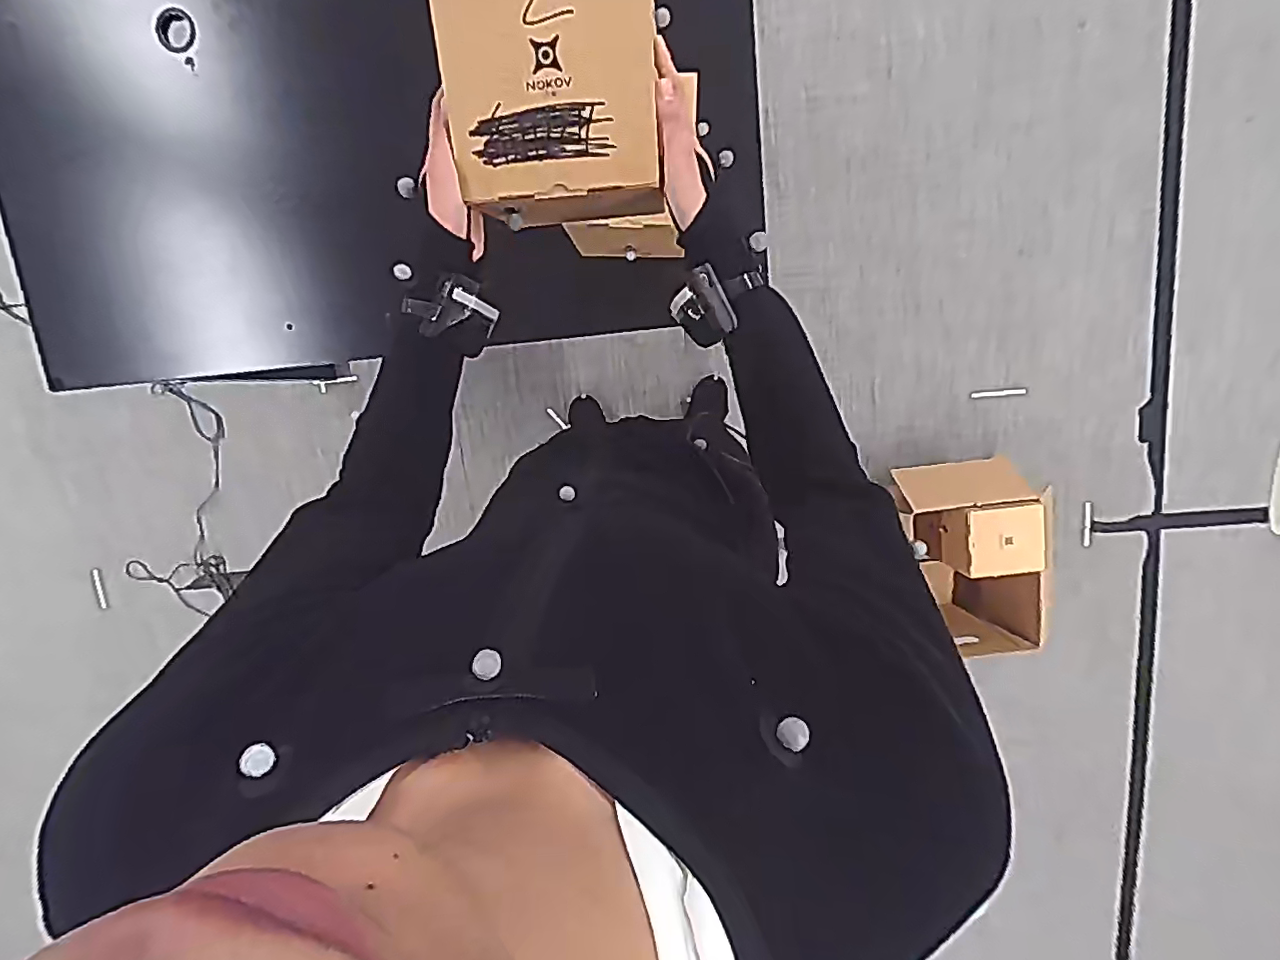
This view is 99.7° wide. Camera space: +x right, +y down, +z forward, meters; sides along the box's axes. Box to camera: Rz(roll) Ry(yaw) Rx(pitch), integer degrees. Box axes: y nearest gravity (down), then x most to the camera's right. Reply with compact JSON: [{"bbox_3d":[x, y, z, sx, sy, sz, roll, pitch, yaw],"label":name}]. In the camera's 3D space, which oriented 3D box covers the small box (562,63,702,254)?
[{"bbox_3d":[-0.009,-0.420,0.732,0.168,0.176,0.179,3,101,3],"label":"small box"}]
